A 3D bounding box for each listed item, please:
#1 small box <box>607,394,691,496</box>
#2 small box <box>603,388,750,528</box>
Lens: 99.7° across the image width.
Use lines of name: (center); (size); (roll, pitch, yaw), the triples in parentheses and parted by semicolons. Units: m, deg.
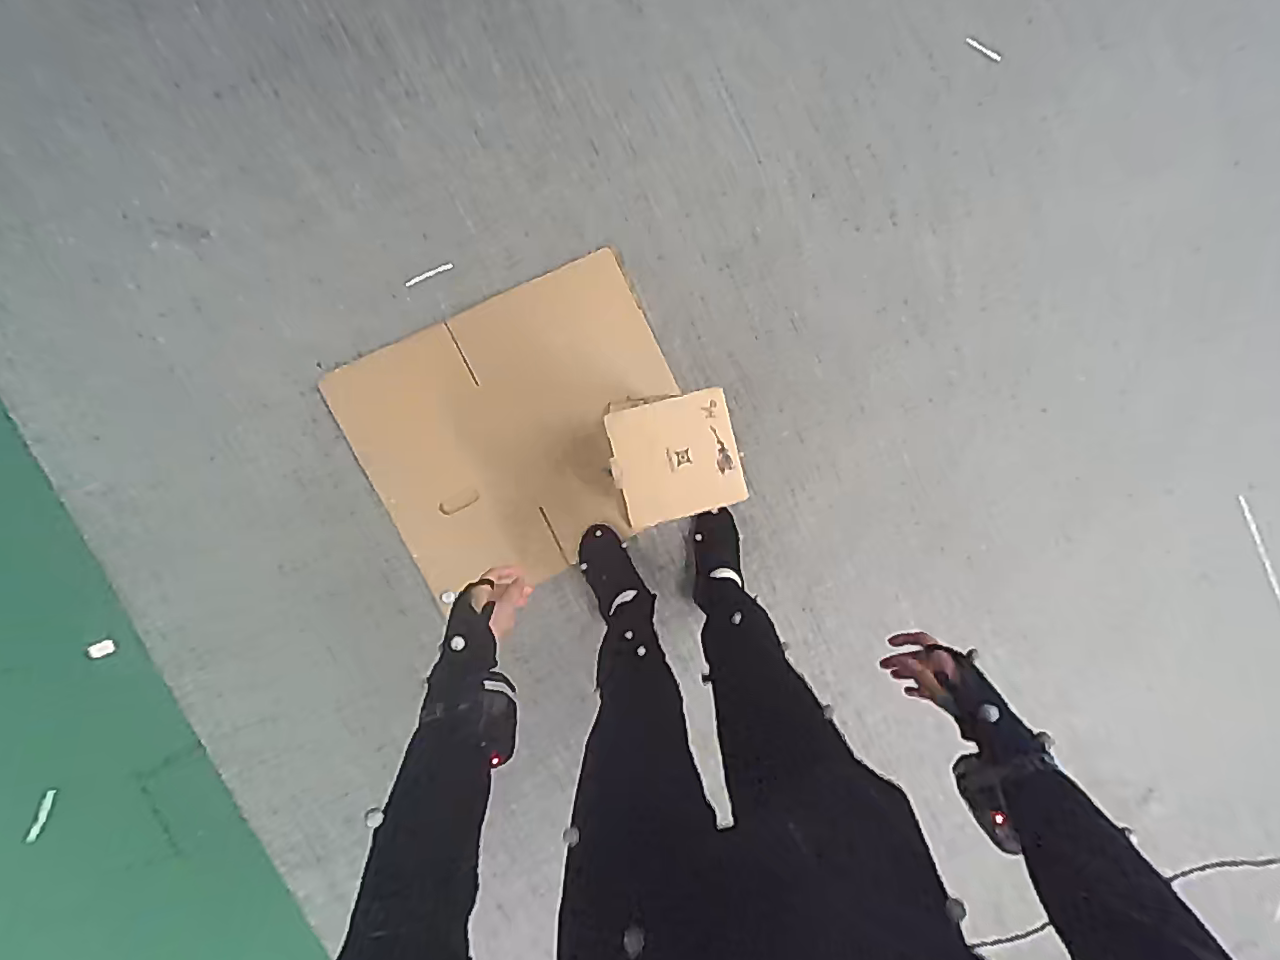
small box: (0.030, -0.055, 0.982); (0.168, 0.176, 0.179); (-6, 93, -7)
small box: (0.045, -0.032, 0.820); (0.179, 0.176, 0.168); (-14, 94, -5)
